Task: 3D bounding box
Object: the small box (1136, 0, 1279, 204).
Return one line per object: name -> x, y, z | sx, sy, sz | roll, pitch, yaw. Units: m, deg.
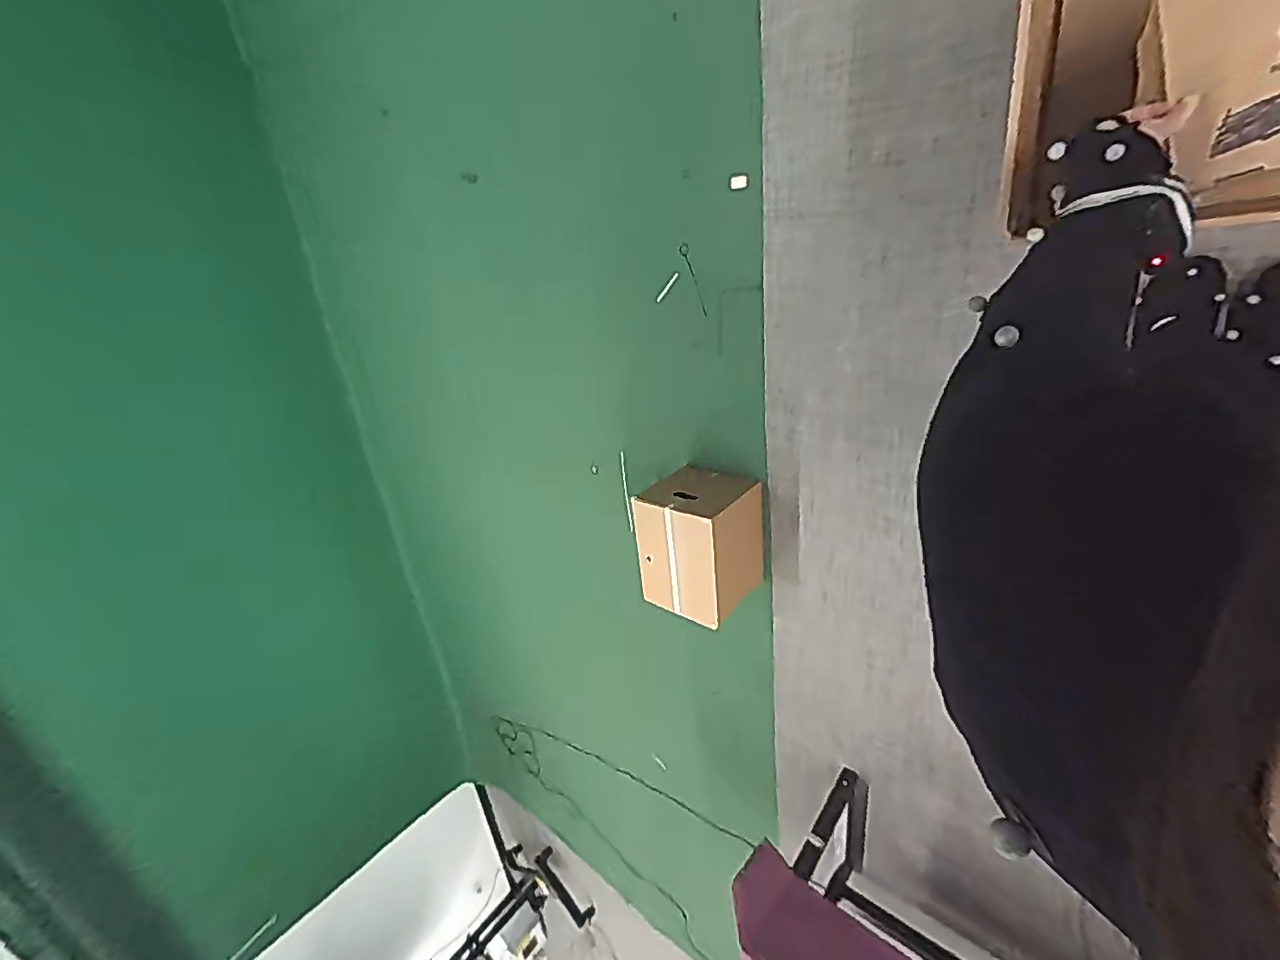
small box -> 0.602, -0.385, 0.522 | 0.168, 0.176, 0.179 | -6, 104, 39
